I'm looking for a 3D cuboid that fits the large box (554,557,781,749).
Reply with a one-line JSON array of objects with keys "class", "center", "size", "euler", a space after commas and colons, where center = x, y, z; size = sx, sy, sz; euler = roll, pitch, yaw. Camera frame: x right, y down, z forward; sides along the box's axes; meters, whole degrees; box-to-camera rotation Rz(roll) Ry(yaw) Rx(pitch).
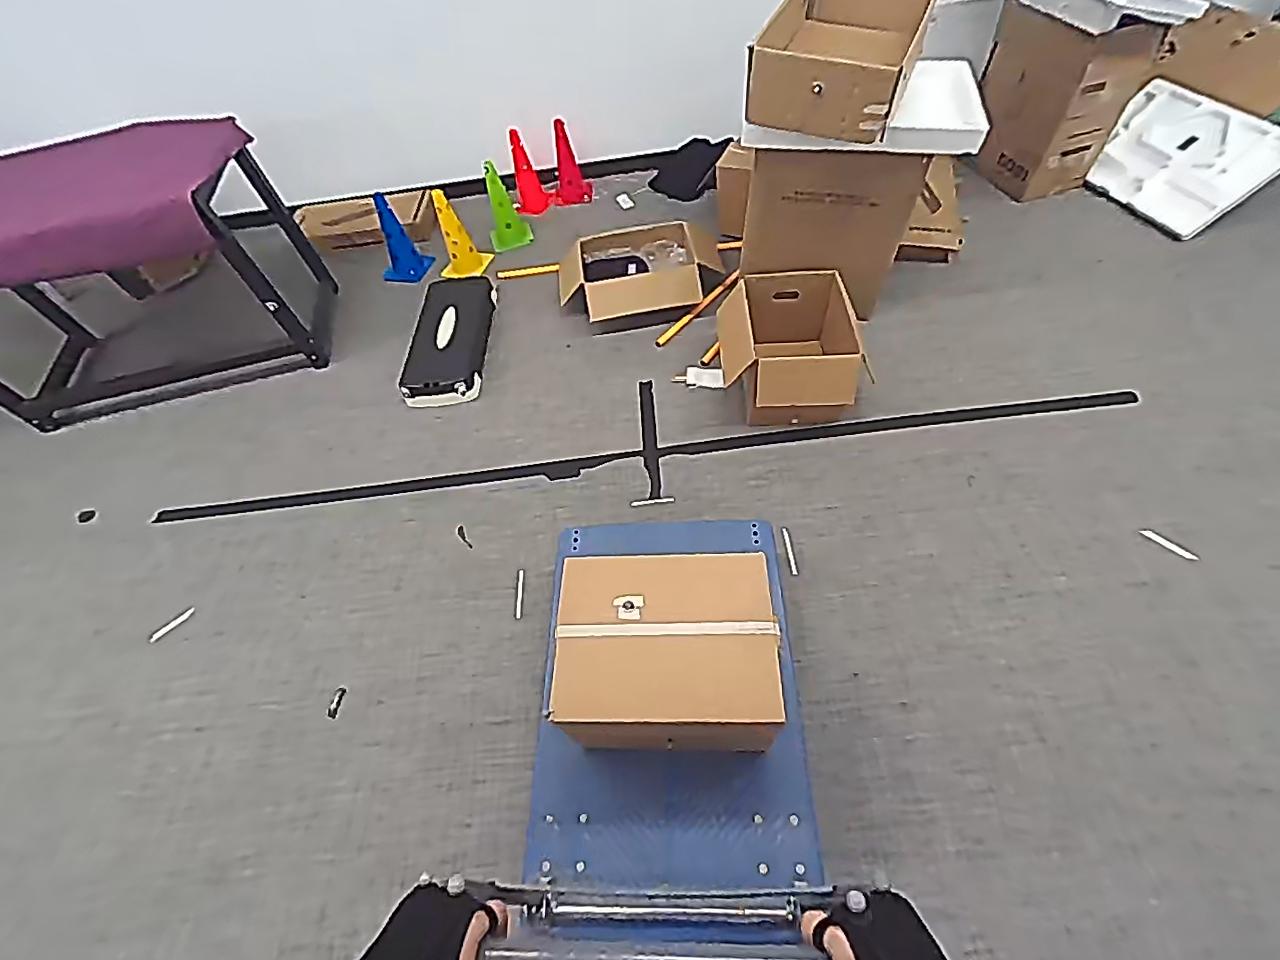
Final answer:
[{"class": "large box", "center": [0.062, 0.377, 1.141], "size": [0.408, 0.320, 0.320], "euler": [-3, 55, 6]}]
